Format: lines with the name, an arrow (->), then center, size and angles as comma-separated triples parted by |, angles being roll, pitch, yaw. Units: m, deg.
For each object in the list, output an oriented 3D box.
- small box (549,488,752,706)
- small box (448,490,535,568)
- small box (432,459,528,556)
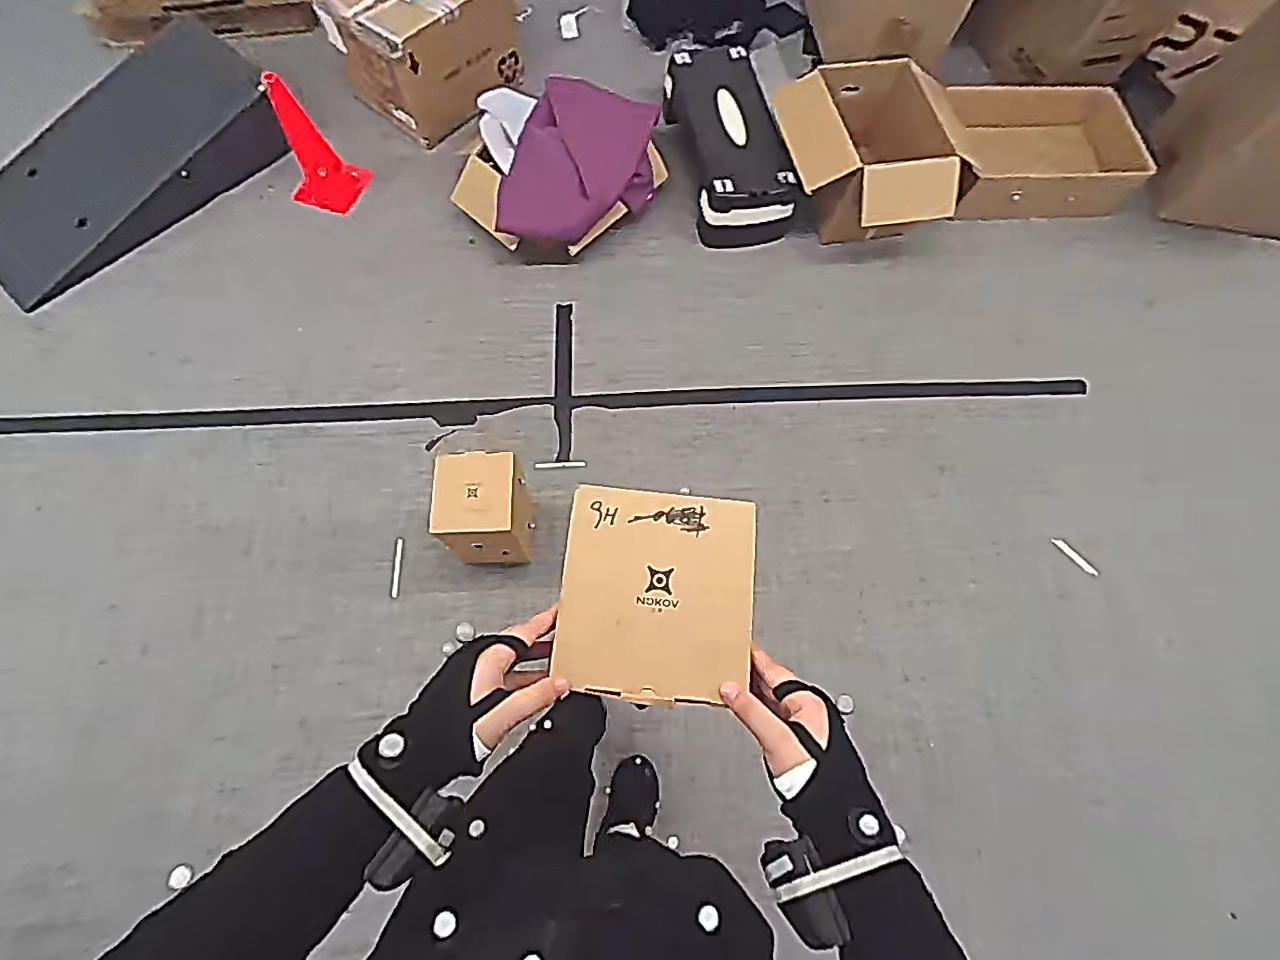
small box -> 0.012, 0.120, 0.552 | 0.168, 0.176, 0.179 | 6, 74, 0
small box -> -0.362, 0.124, 1.353 | 0.179, 0.176, 0.168 | -1, 70, -3
small box -> -0.347, 0.064, 1.202 | 0.168, 0.176, 0.179 | -2, 71, -2
